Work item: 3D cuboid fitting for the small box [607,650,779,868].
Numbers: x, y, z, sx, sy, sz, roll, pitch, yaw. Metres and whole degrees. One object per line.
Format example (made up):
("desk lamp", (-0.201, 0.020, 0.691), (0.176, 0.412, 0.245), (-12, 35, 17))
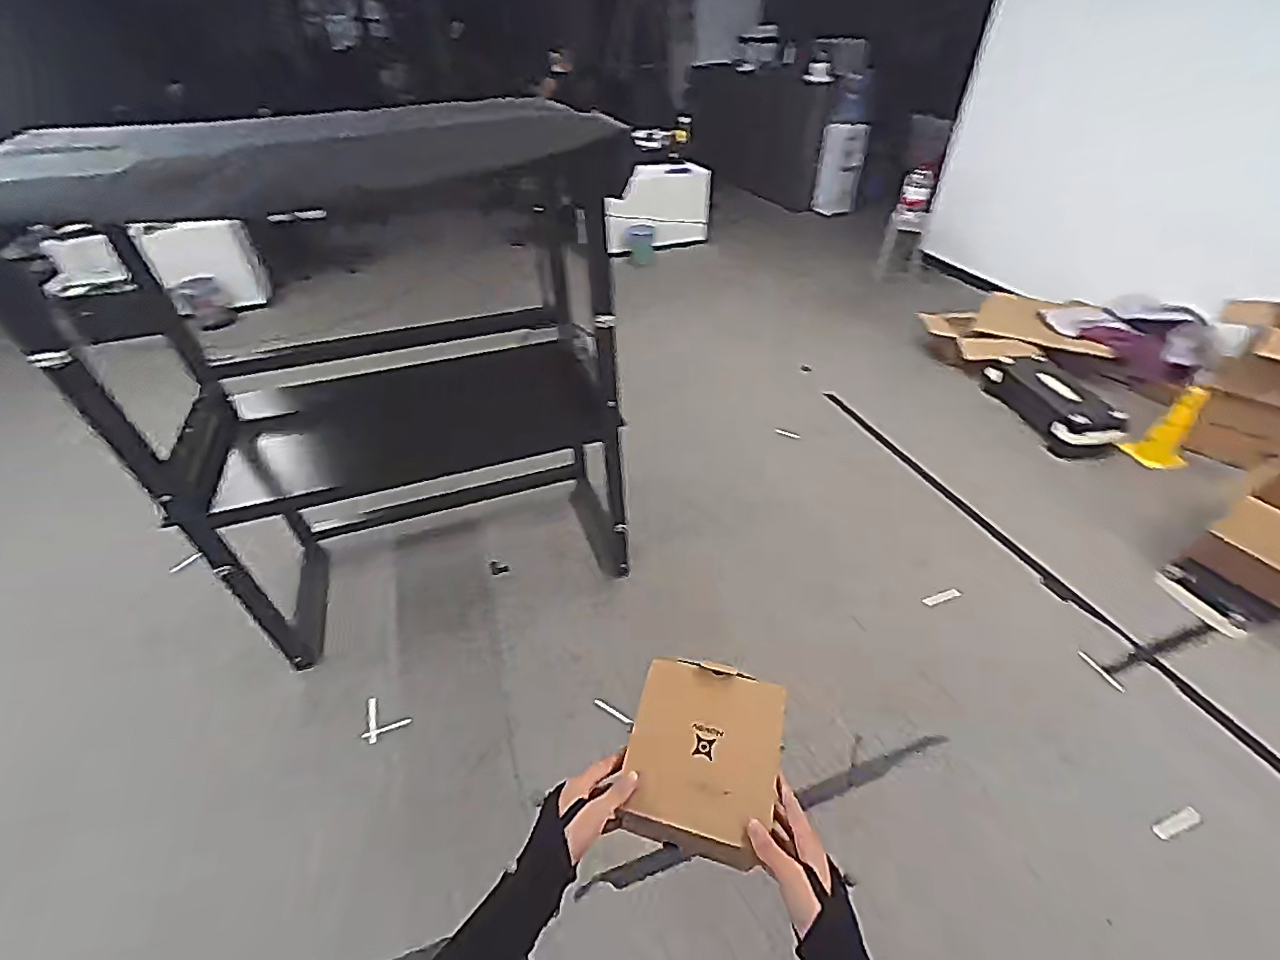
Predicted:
("small box", (0.065, 0.339, 0.657), (0.168, 0.176, 0.179), (10, 50, 11))
